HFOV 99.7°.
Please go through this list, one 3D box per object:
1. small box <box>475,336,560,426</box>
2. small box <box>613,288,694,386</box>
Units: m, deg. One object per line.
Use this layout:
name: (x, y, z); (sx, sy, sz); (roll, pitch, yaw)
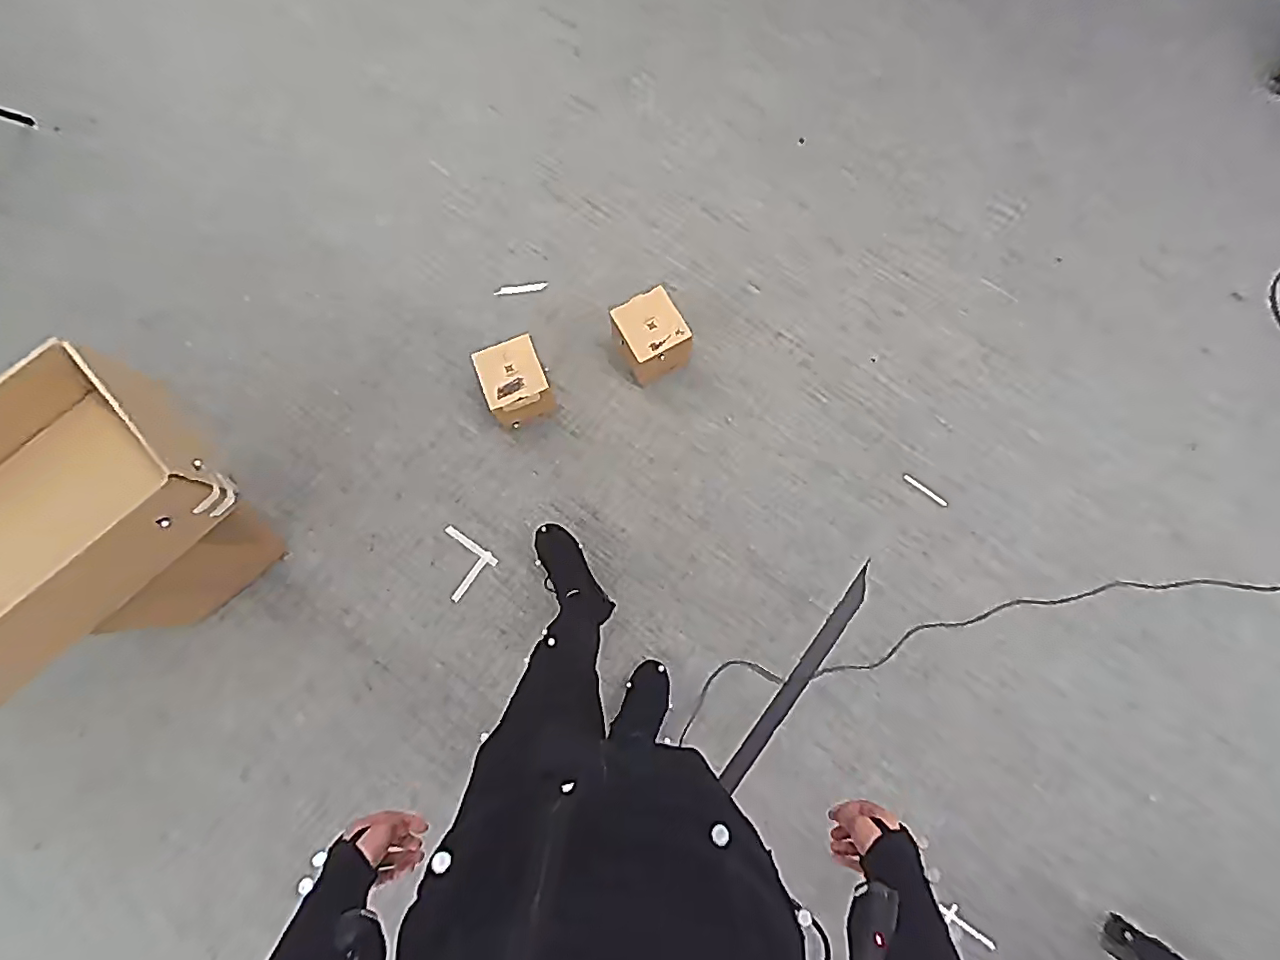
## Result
small box: (-0.335, -0.266, 1.513); (0.168, 0.176, 0.179); (-21, 78, -4)
small box: (0.036, -0.401, 1.538); (0.168, 0.176, 0.179); (-28, 78, -5)
